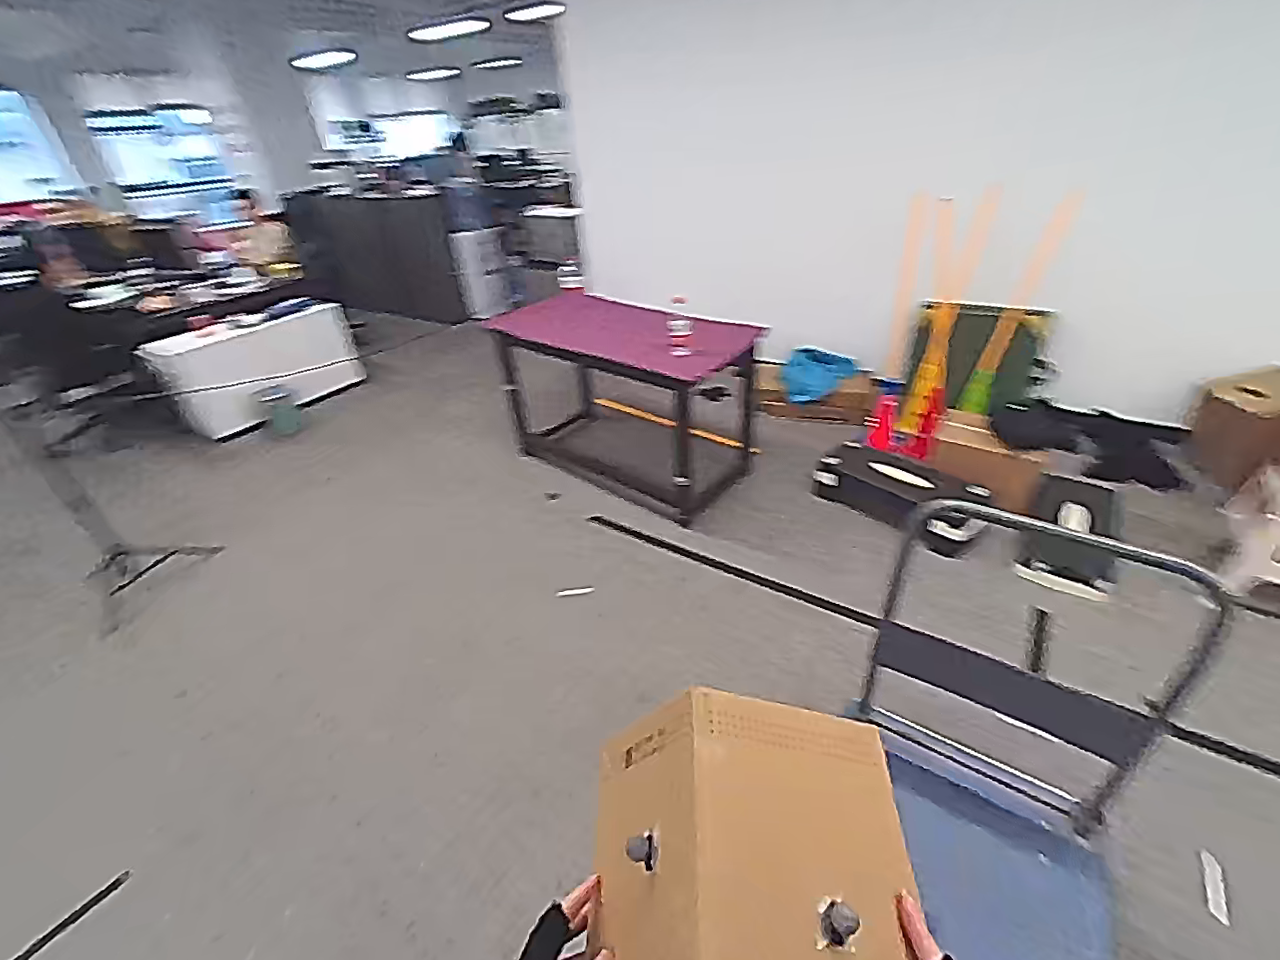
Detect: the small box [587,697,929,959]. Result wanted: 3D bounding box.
[{"bbox_3d":[0.069,0.278,0.404,0.179,0.168,0.176,18,45,-20],"label":"small box"}]
